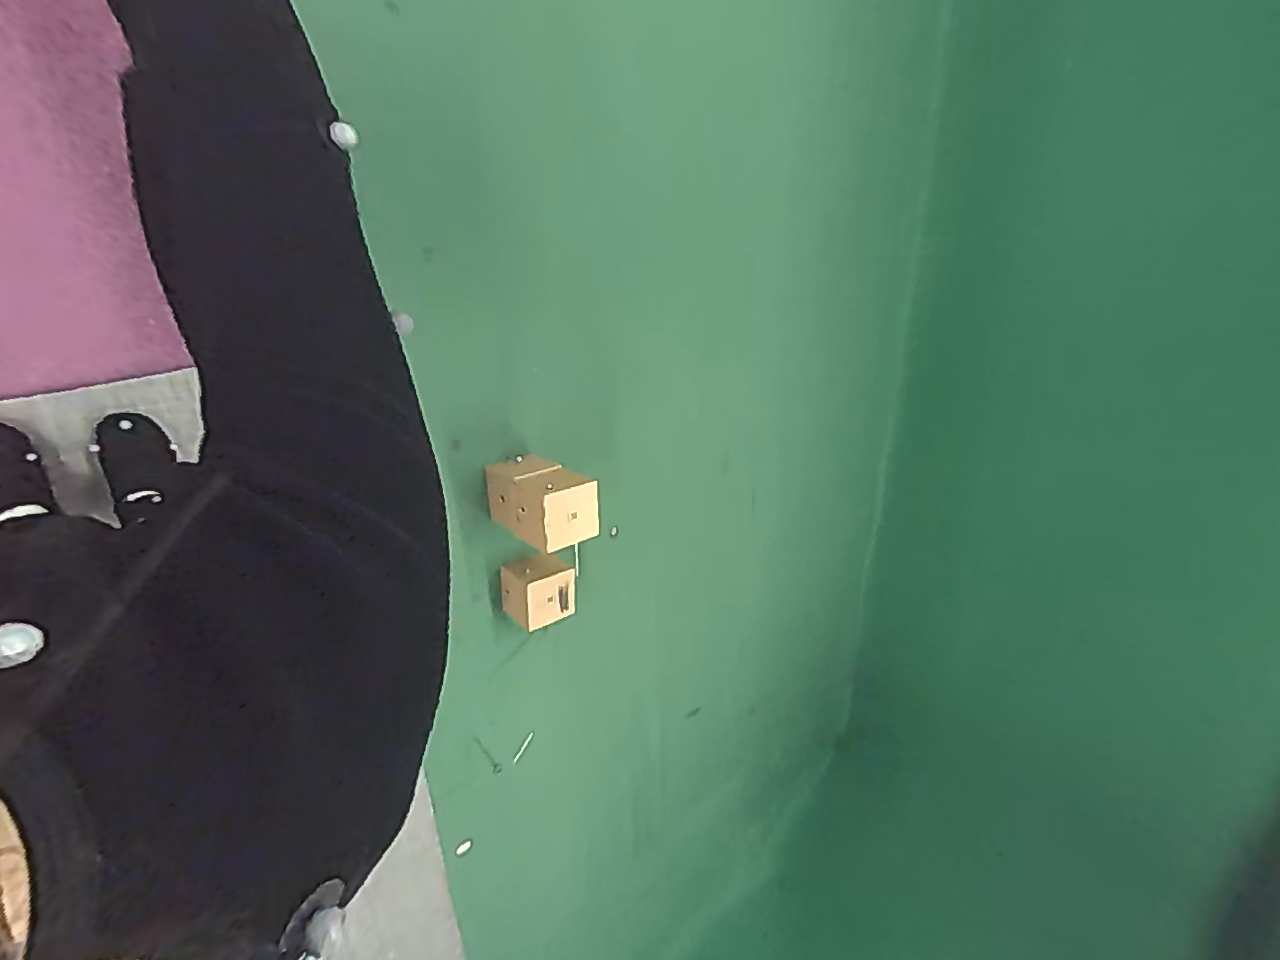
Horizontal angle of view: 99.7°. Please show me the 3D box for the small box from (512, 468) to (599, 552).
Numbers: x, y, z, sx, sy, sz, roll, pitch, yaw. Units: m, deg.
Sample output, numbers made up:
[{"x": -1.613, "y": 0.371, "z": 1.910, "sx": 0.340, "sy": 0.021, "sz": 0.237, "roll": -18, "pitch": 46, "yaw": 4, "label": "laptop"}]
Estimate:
[{"x": -0.234, "y": 0.074, "z": 1.505, "sx": 0.179, "sy": 0.176, "sz": 0.168, "roll": -18, "pitch": 115, "yaw": -39, "label": "small box"}]

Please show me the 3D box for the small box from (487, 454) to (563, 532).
[{"x": -0.342, "y": 0.033, "z": 1.621, "sx": 0.168, "sy": 0.176, "sz": 0.179, "roll": -18, "pitch": 115, "yaw": -39, "label": "small box"}]
